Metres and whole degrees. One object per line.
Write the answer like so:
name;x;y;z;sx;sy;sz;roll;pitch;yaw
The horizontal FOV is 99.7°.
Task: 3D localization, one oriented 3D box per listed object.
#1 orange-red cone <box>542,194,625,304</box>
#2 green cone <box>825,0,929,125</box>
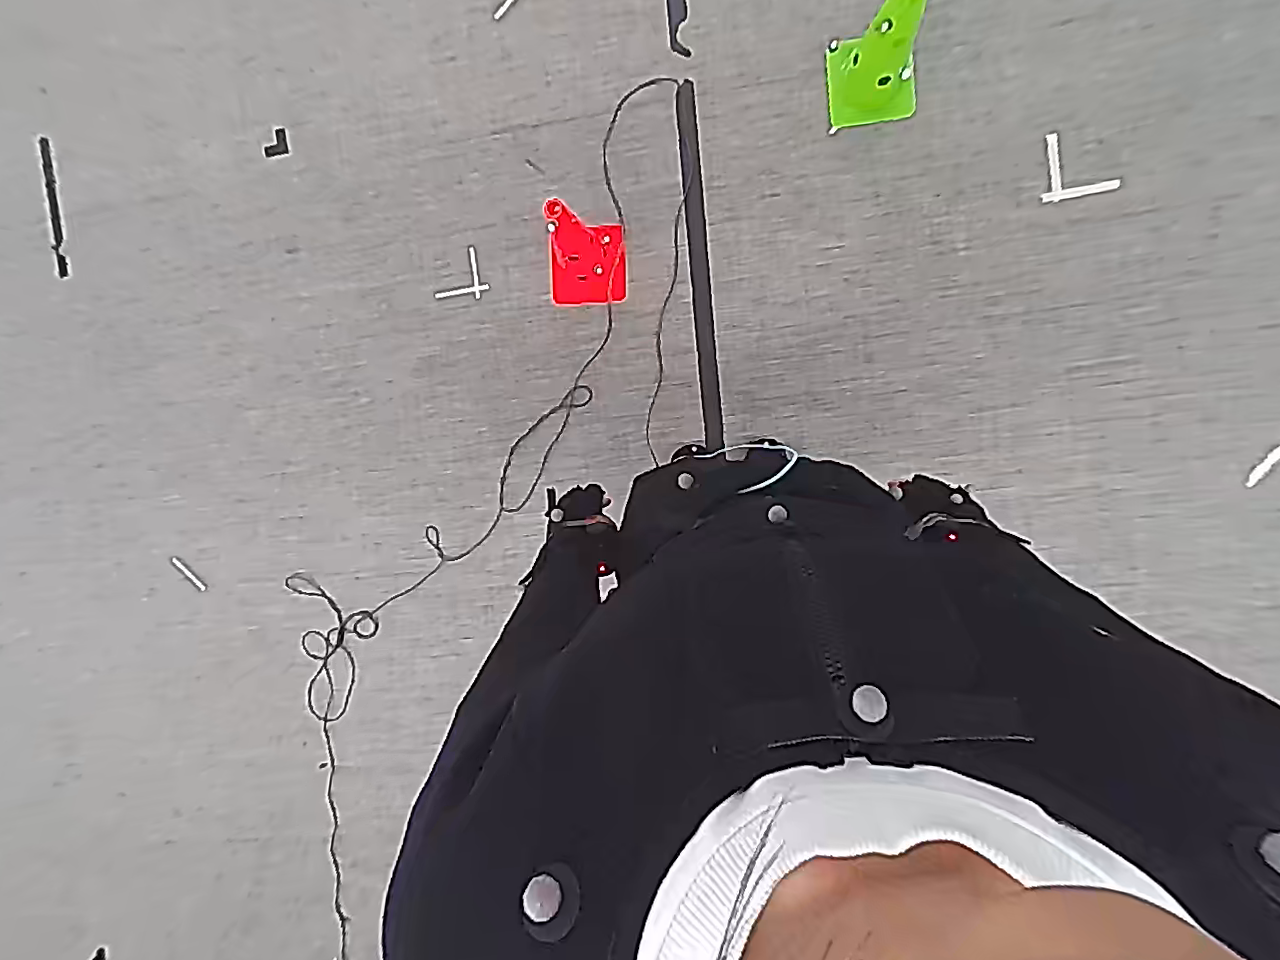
orange-red cone;-0.159;-0.556;1.246;0.199;0.360;0.198;-1;93;7
green cone;0.540;-0.958;1.137;0.202;0.368;0.200;-5;94;5
